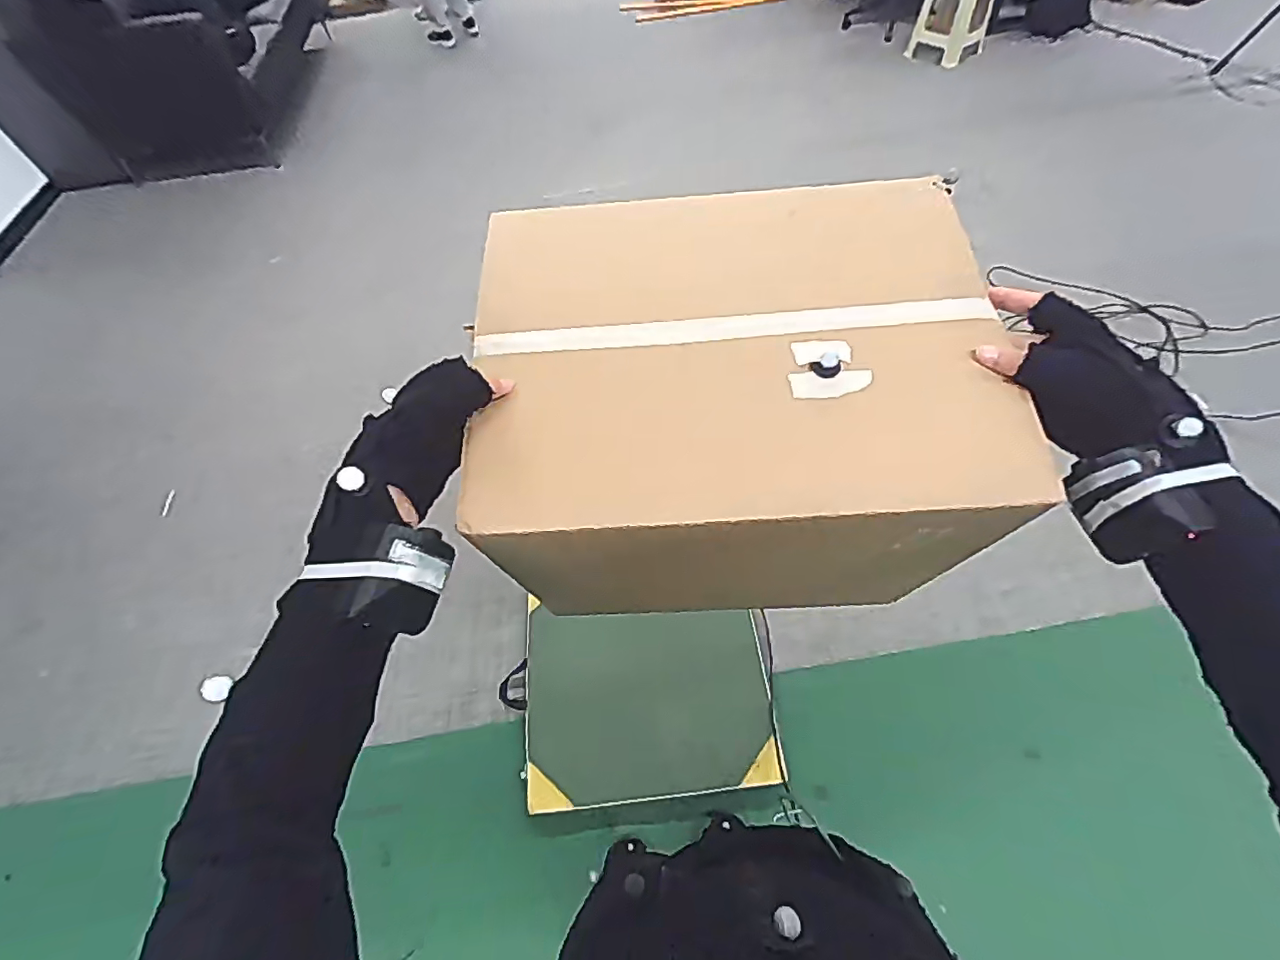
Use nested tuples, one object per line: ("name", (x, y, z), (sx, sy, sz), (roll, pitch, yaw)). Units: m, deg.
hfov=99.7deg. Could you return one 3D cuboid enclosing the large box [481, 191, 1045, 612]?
("large box", (0.082, -0.053, 0.573), (0.408, 0.320, 0.320), (-3, 66, 2))
